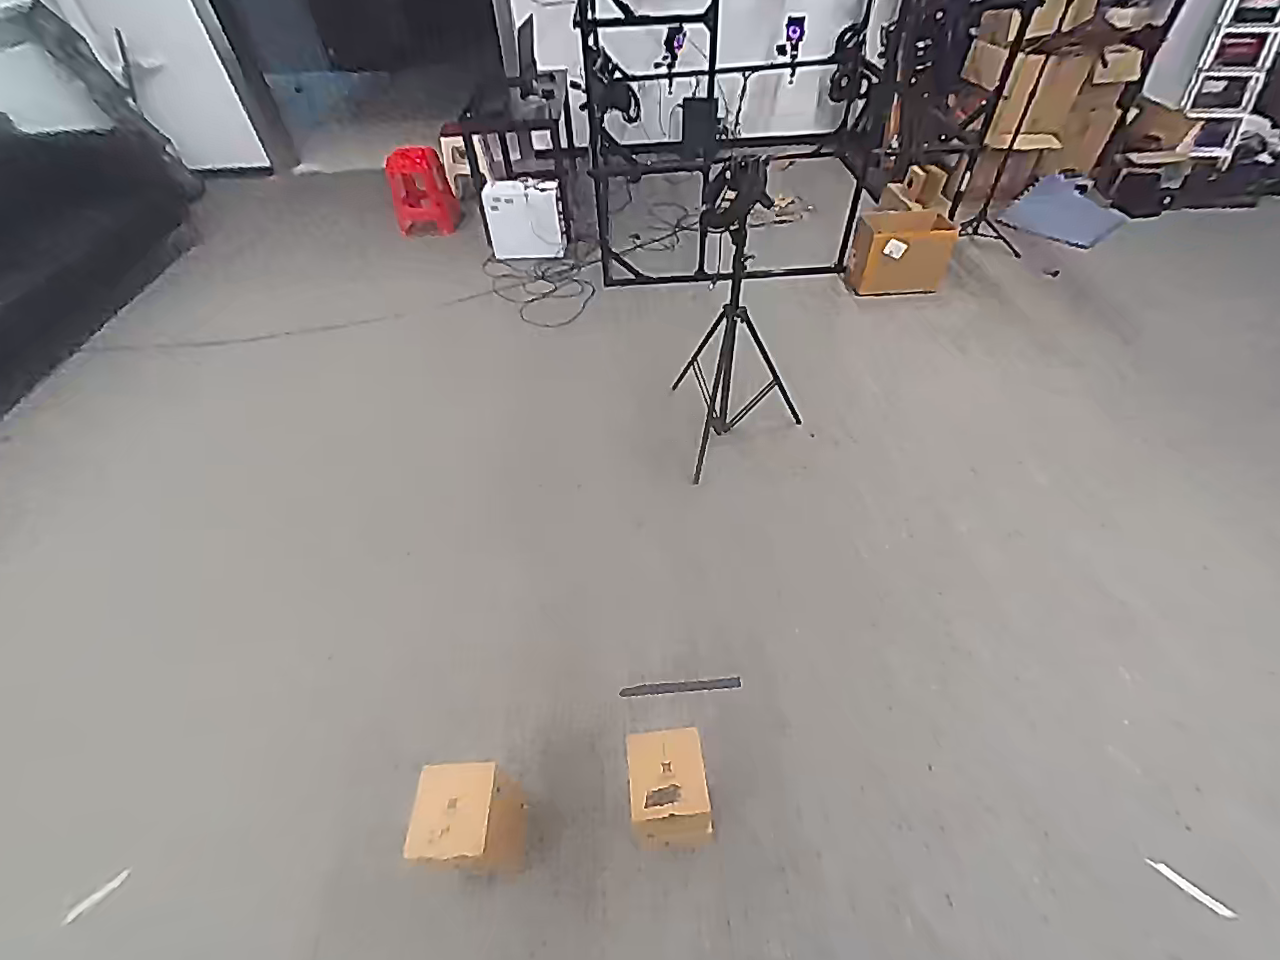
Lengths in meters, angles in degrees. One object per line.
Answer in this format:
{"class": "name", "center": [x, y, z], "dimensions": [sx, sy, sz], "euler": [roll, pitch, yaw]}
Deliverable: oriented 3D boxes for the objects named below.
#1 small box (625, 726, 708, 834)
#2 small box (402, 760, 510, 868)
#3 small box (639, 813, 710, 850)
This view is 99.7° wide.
{"class": "small box", "center": [0.058, 0.680, 1.219], "dimensions": [0.168, 0.176, 0.179], "euler": [-5, 46, -2]}
{"class": "small box", "center": [-0.392, 0.736, 1.191], "dimensions": [0.168, 0.176, 0.179], "euler": [-3, 48, 2]}
{"class": "small box", "center": [0.077, 0.796, 1.335], "dimensions": [0.168, 0.176, 0.179], "euler": [-6, 46, -2]}
